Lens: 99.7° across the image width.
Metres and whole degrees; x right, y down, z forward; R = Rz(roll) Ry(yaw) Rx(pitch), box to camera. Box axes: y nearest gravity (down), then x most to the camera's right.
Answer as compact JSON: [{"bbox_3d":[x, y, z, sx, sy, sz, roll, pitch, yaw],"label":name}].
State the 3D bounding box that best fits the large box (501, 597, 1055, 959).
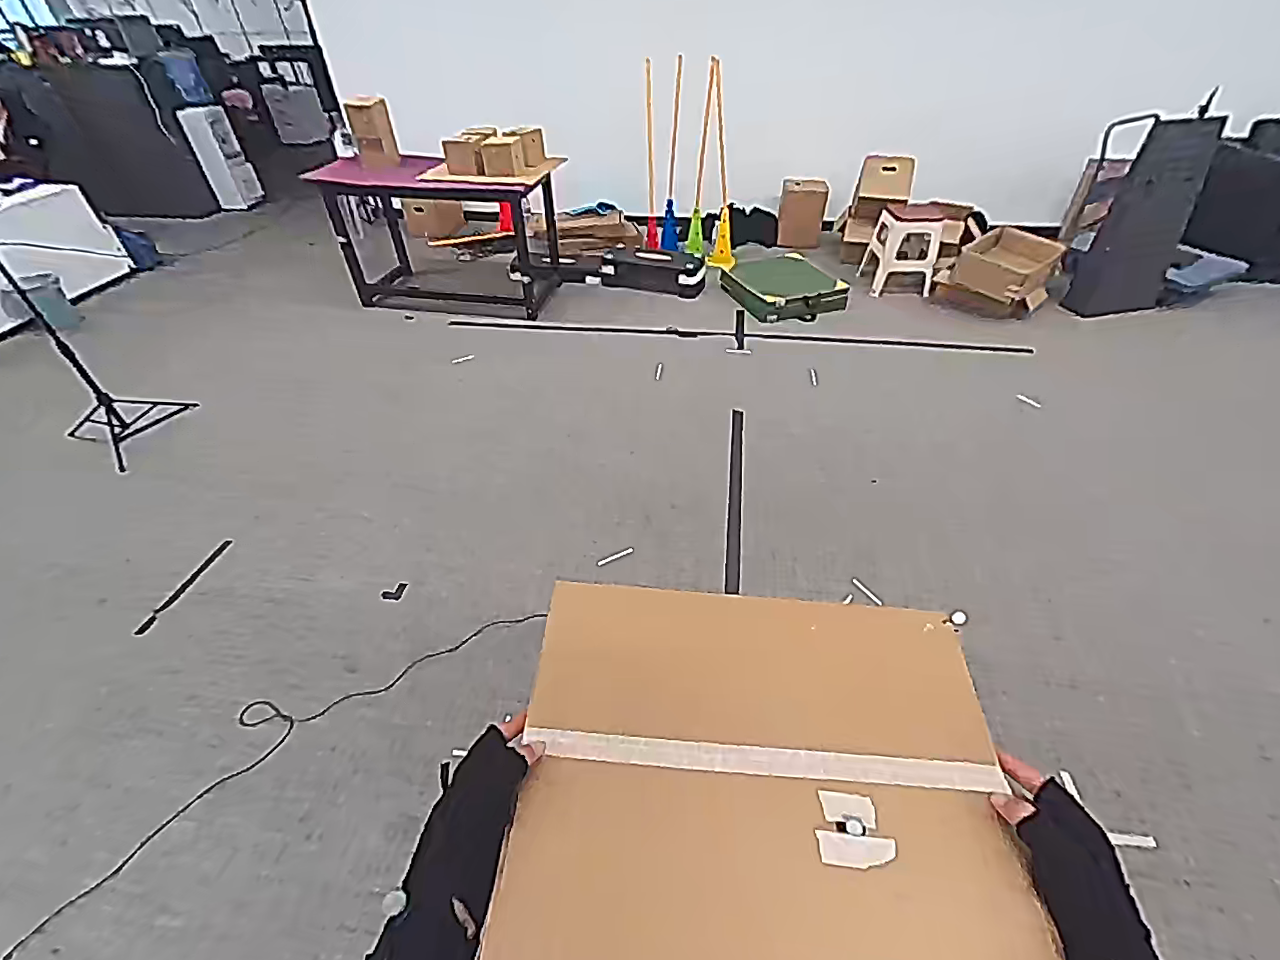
[{"bbox_3d":[0.100,0.346,0.576,0.408,0.320,0.320,4,49,1],"label":"large box"}]
